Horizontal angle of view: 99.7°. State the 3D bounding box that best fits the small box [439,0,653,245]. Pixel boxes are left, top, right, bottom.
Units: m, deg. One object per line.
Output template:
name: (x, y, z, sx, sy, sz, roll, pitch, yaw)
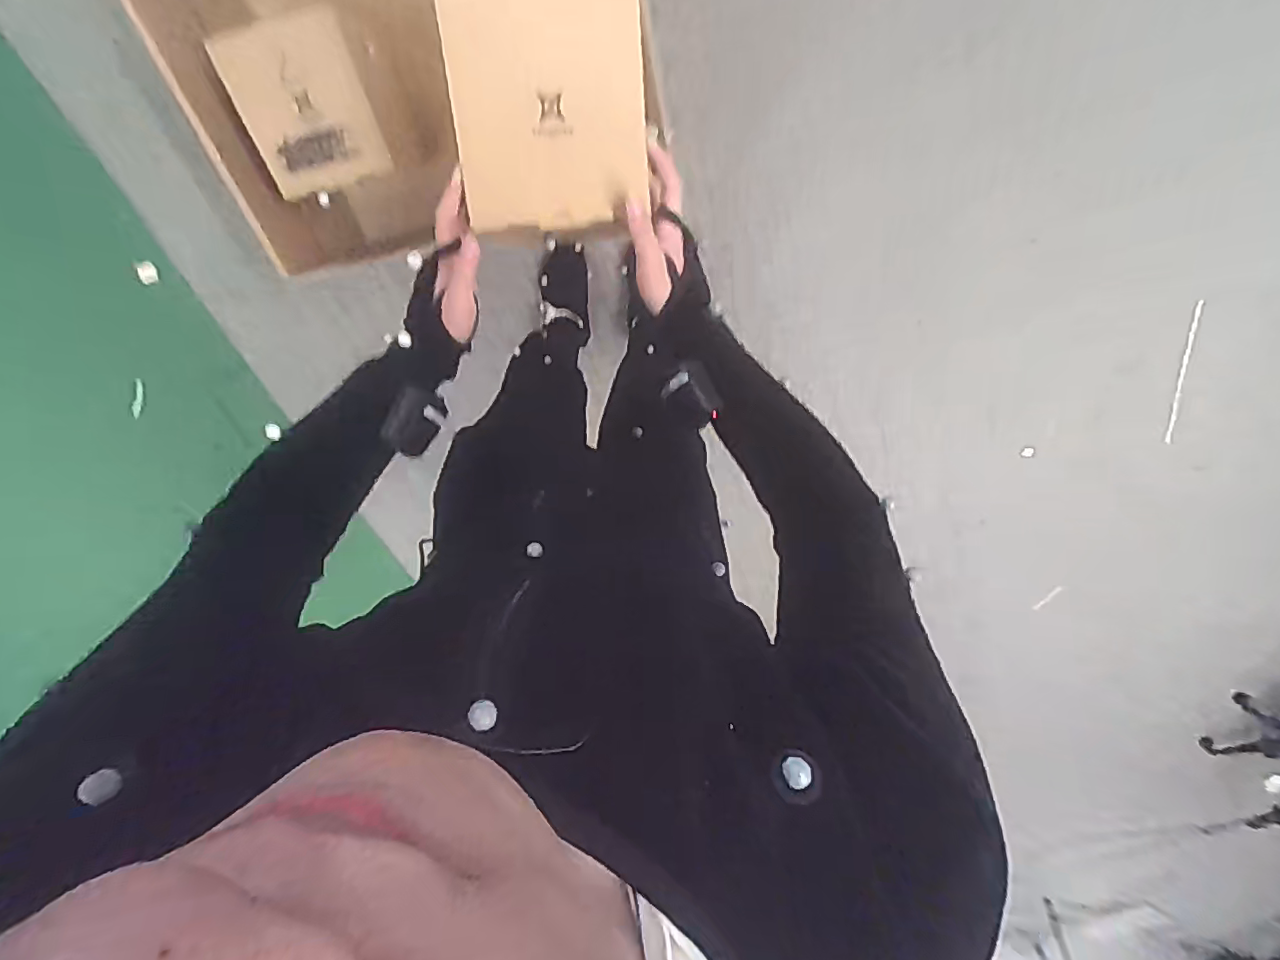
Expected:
small box: (-0.086, -0.335, 0.530, 0.168, 0.176, 0.179, -7, 112, -7)
